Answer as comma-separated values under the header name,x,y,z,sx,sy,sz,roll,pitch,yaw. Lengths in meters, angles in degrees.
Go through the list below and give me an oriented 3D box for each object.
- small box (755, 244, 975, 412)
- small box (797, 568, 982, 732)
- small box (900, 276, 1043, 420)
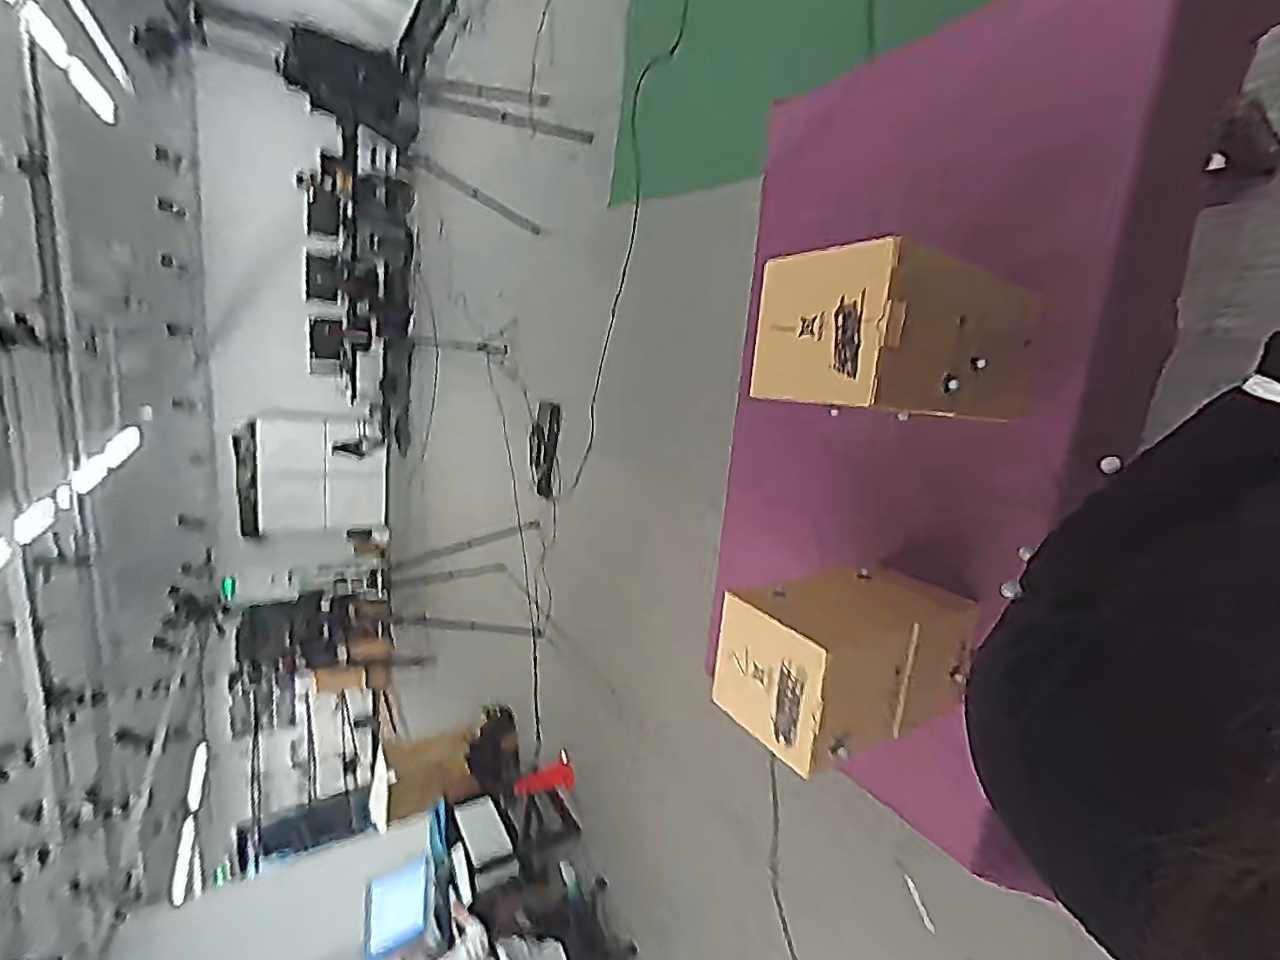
name,x,y,z,sx,sy,sz,roll,pitch,yaw
small box,0.268,-0.172,0.655,0.179,0.176,0.168,19,107,55
small box,0.371,0.240,0.815,0.179,0.176,0.168,21,109,54
small box,0.406,-0.174,0.744,0.179,0.176,0.168,20,109,56
